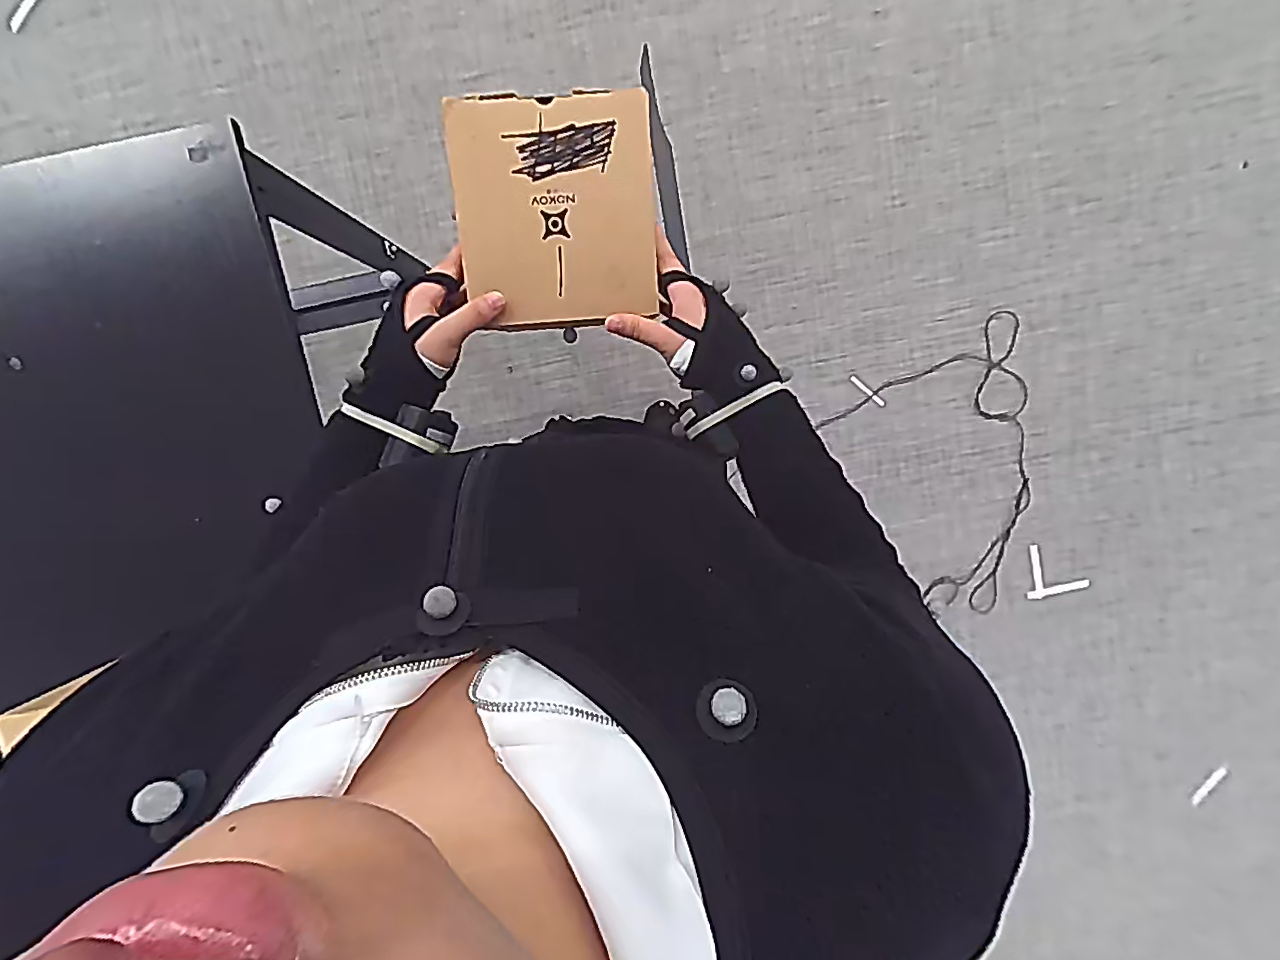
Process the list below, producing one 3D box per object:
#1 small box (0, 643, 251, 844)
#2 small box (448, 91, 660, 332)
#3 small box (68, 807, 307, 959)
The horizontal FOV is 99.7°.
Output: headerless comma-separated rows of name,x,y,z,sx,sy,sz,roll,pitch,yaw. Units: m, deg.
small box,-0.663,0.334,0.719,0.179,0.176,0.168,-11,96,2
small box,-0.072,-0.241,0.525,0.168,0.176,0.179,-4,104,-2
small box,-0.606,0.589,0.750,0.168,0.176,0.179,-12,96,2
